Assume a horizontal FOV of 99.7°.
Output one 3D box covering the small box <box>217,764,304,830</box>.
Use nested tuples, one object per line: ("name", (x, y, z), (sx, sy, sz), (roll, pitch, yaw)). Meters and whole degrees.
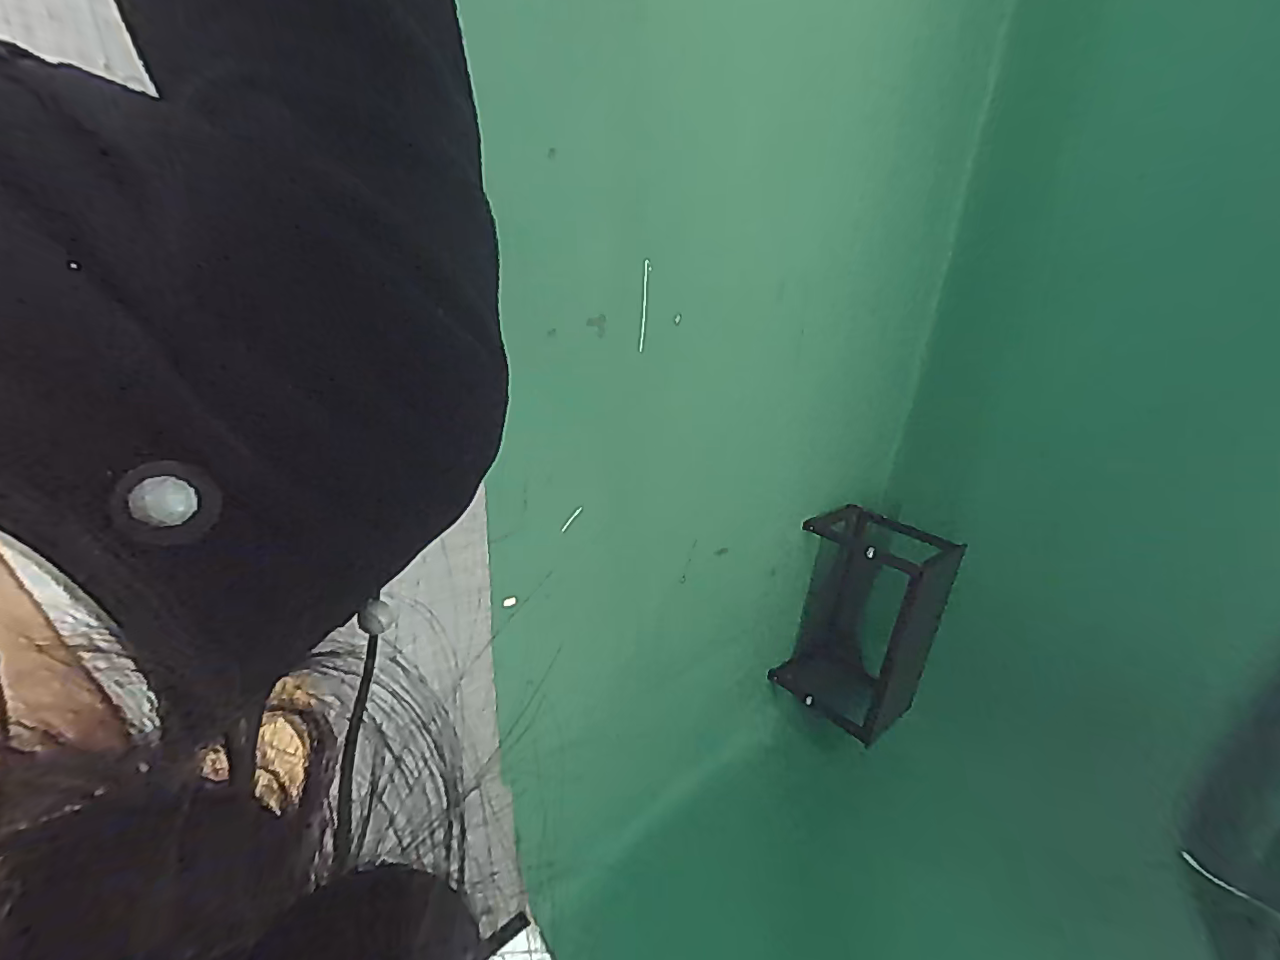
("small box", (-1.040, 0.790, 1.474), (0.179, 0.176, 0.168), (-9, 115, -42))

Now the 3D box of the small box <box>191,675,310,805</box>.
("small box", (-0.910, 0.599, 1.265), (0.168, 0.176, 0.179), (-29, 127, -32))

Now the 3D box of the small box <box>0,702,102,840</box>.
("small box", (-1.279, 0.604, 1.151), (0.168, 0.176, 0.179), (-11, 118, -40))
